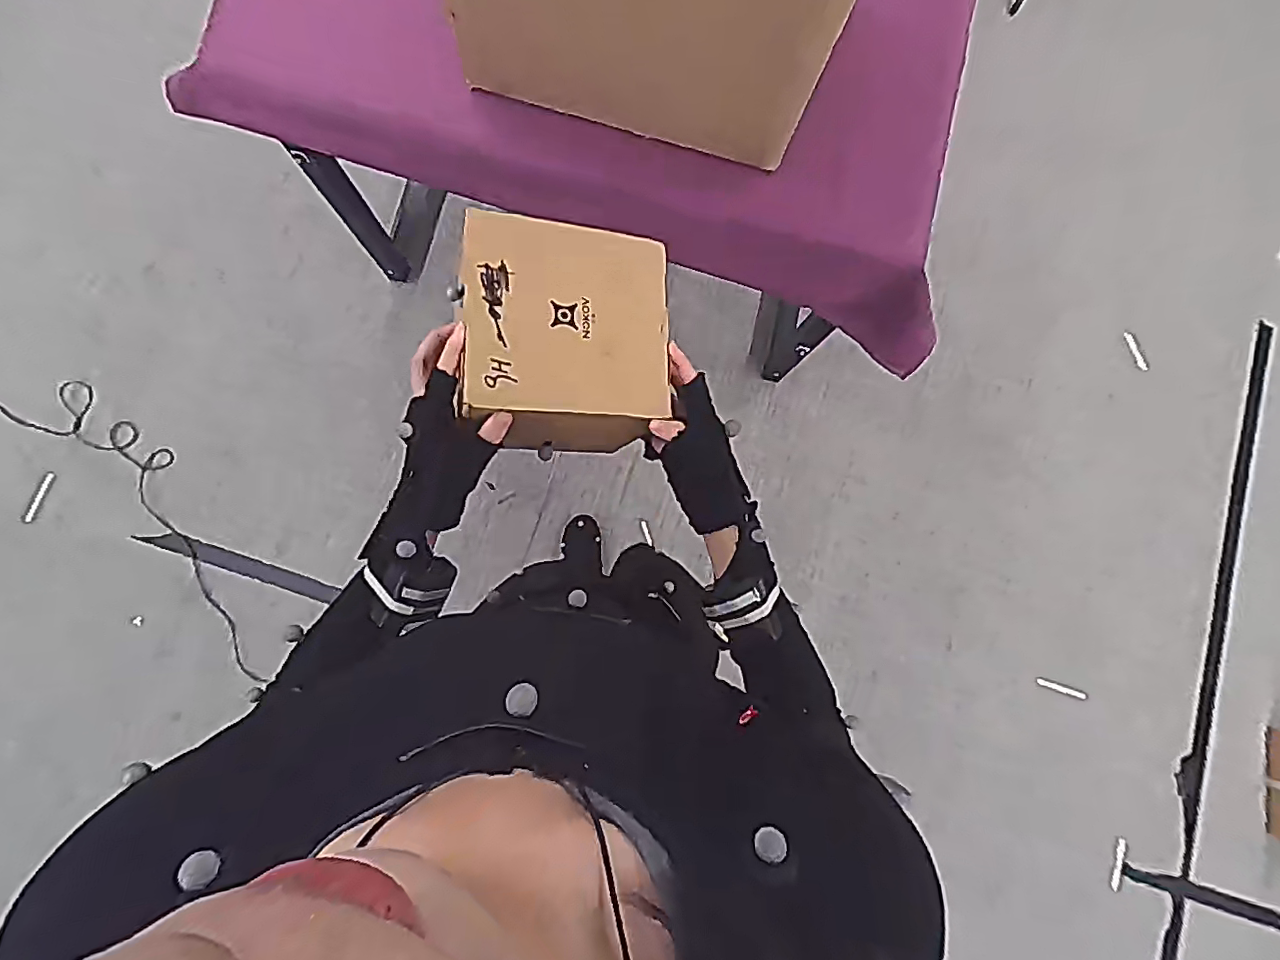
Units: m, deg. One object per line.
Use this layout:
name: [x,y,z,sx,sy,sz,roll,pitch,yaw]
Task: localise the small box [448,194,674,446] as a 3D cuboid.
small box: [-0.083,-0.130,0.517,0.179,0.176,0.168,2,81,-23]
